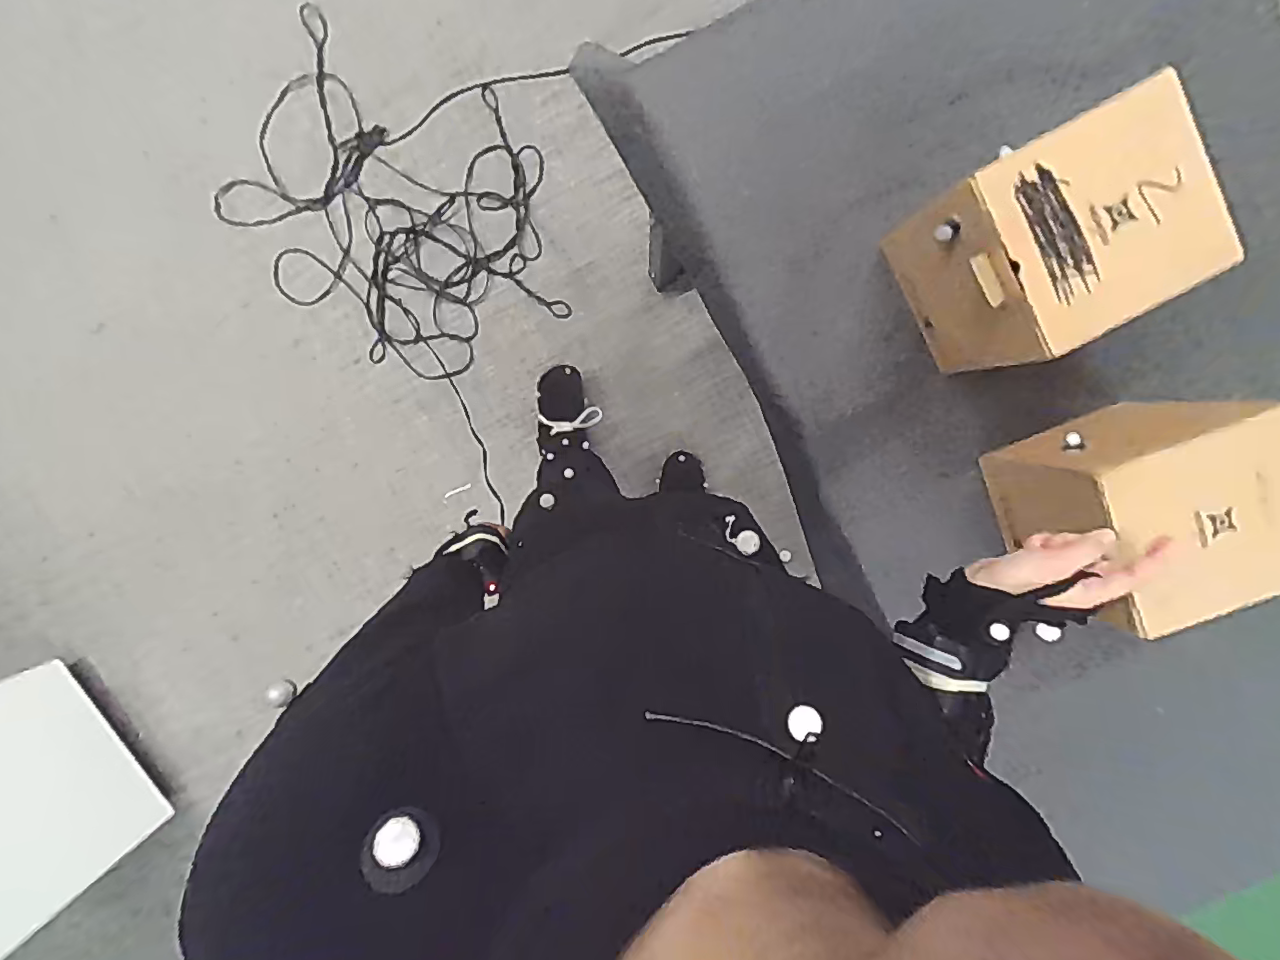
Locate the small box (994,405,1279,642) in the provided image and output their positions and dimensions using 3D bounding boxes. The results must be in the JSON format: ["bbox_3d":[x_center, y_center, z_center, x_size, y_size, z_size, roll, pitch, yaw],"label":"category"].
[{"bbox_3d":[0.500,0.032,0.549,0.179,0.176,0.168,-22,97,2],"label":"small box"}]
